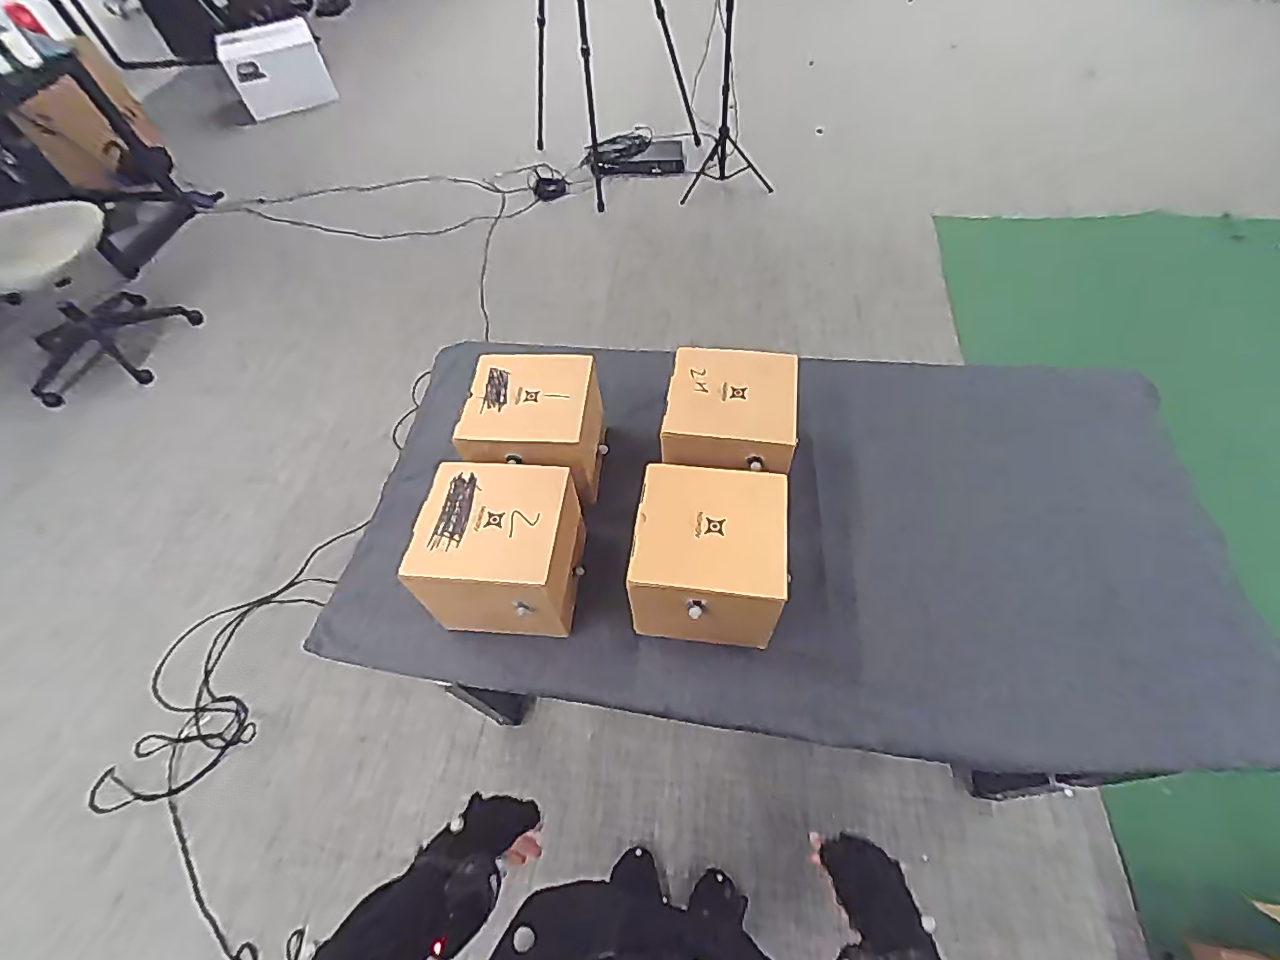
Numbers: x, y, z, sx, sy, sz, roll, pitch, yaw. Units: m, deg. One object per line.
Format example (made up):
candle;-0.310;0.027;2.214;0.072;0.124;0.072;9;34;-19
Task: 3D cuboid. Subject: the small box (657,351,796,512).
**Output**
small box;0.127;-0.067;0.805;0.179;0.176;0.168;6;56;9
